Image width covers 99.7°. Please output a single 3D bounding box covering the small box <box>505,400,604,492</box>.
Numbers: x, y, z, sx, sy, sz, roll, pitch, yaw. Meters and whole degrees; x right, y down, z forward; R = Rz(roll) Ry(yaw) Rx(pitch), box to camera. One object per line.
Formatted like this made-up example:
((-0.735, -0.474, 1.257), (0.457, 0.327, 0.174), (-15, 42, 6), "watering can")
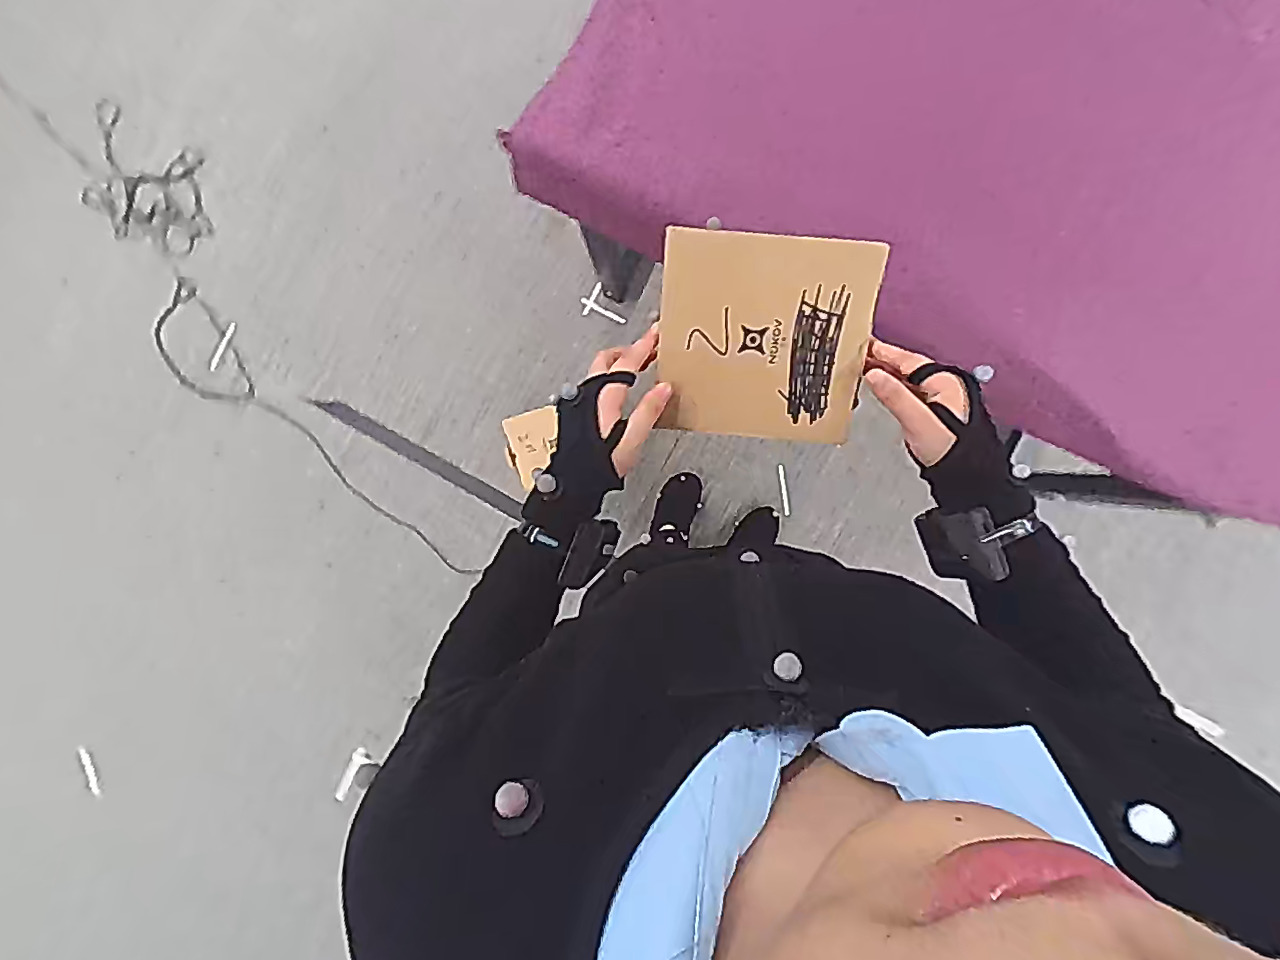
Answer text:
((-0.189, -0.078, 1.261), (0.179, 0.176, 0.168), (-18, 91, 2), "small box")
